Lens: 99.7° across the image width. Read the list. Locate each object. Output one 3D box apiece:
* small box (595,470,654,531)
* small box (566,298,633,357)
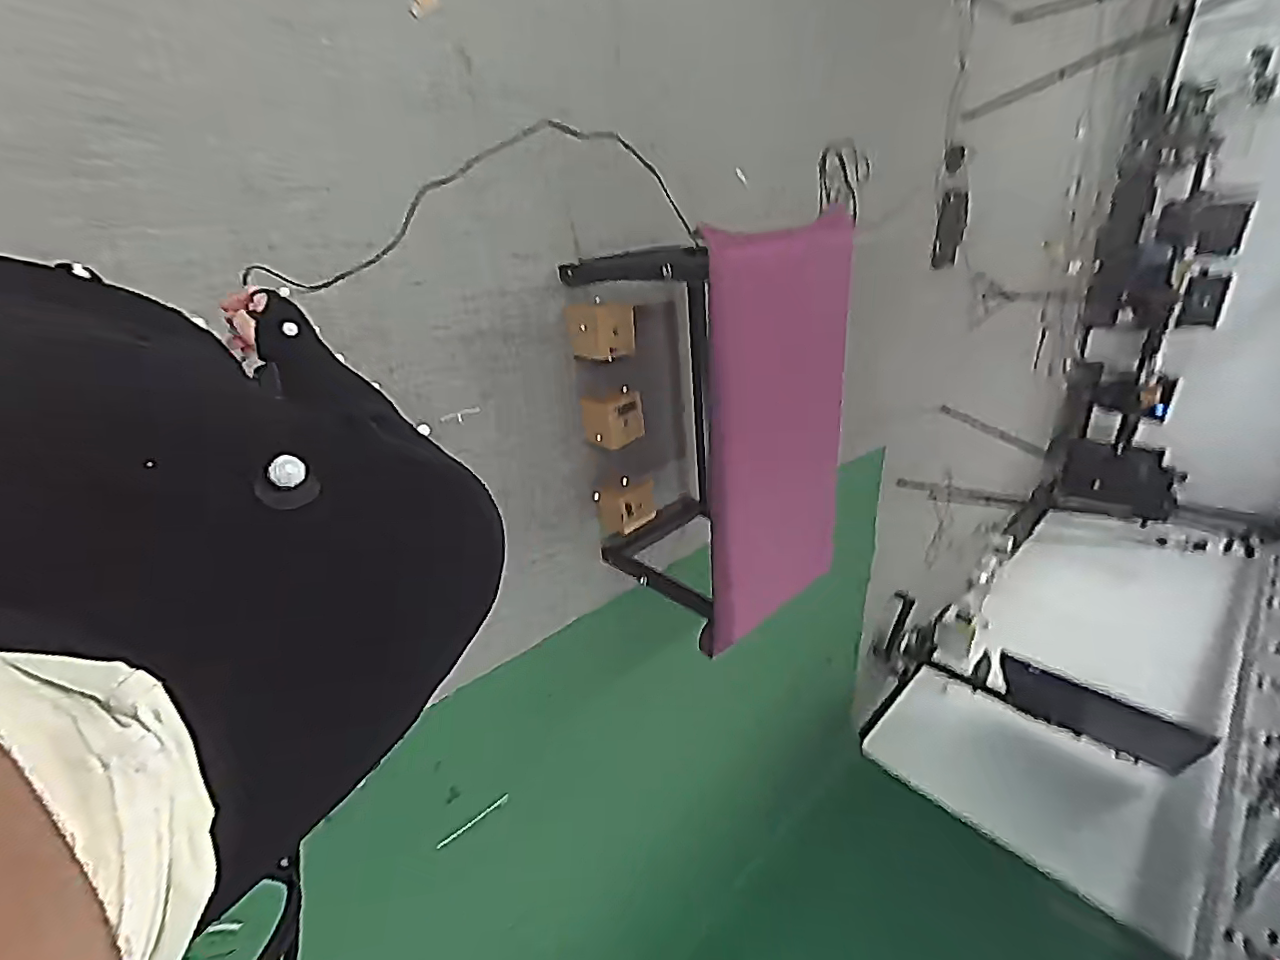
[{"bbox_3d":[-0.069,0.079,2.185,0.179,0.176,0.168,-29,124,-35],"label":"small box"},{"bbox_3d":[-0.144,-0.535,1.886,0.168,0.176,0.179,-23,119,-37],"label":"small box"}]
